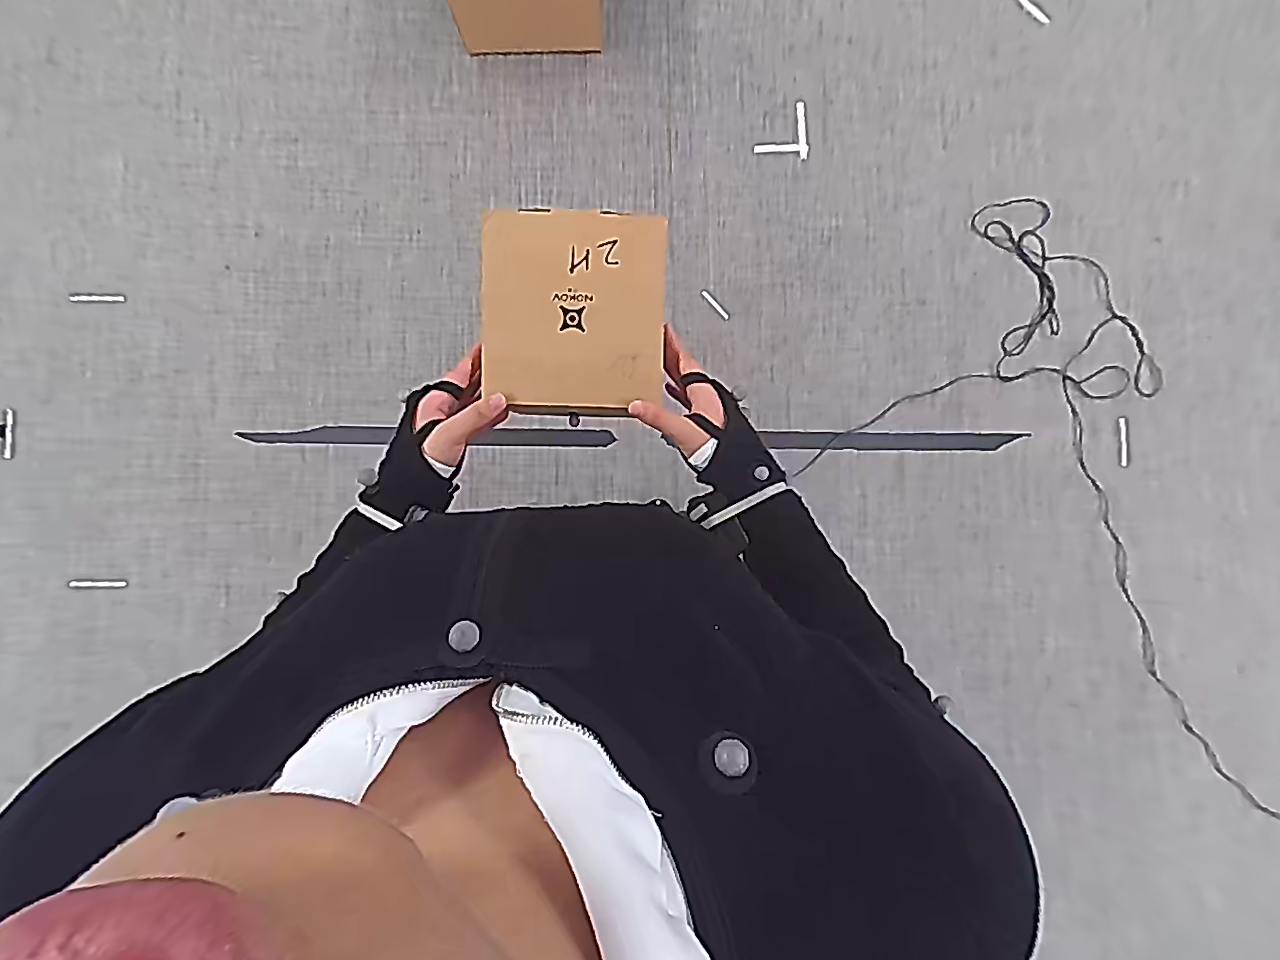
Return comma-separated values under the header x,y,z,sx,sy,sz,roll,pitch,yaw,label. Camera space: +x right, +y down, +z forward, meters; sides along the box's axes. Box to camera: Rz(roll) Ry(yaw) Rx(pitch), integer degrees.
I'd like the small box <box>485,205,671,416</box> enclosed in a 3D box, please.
x,y,z,sx,sy,sz,roll,pitch,yaw,label
-0.060,-0.162,0.573,0.168,0.176,0.179,2,92,-3,small box
